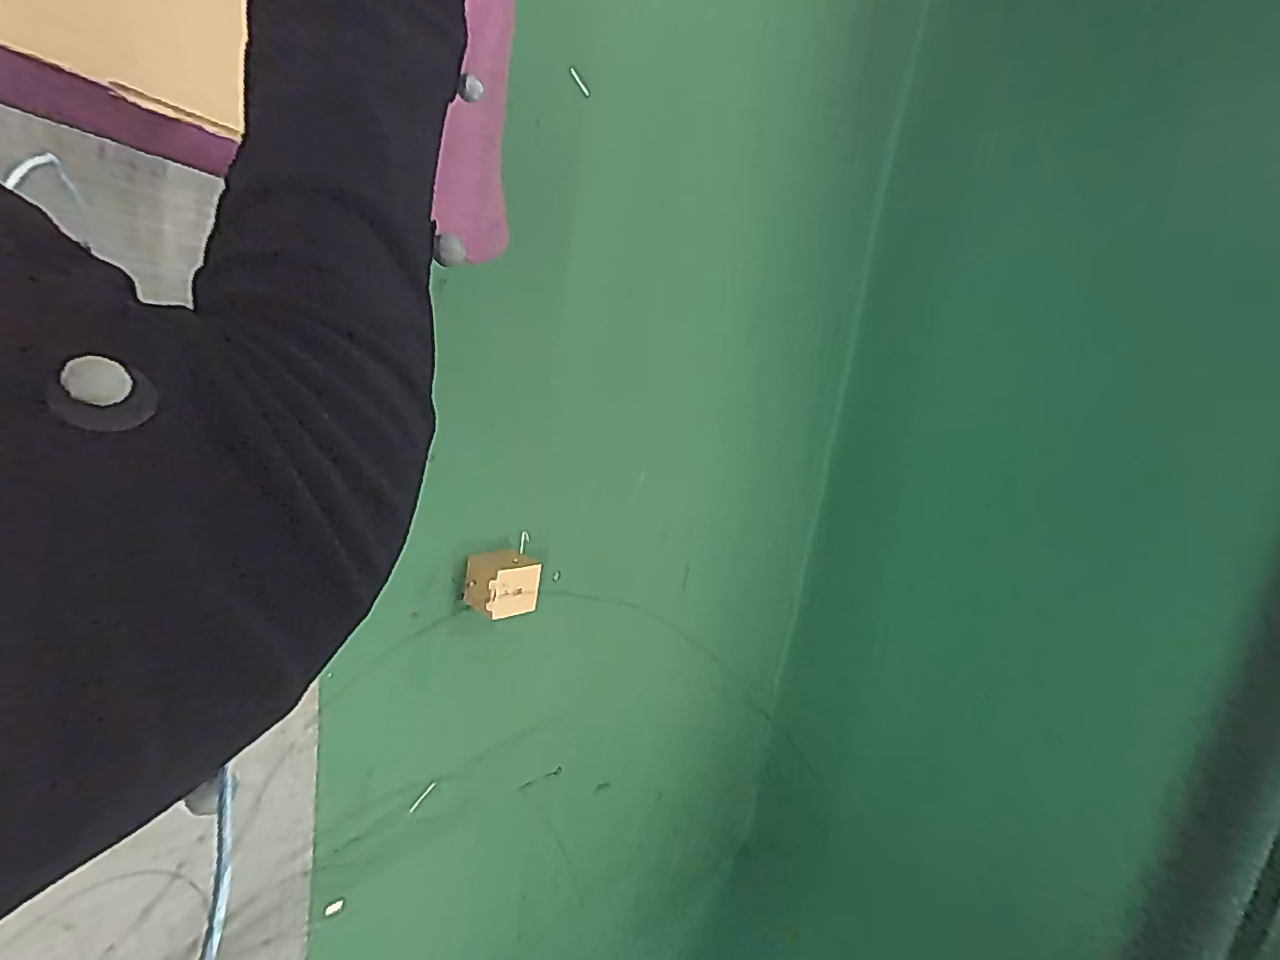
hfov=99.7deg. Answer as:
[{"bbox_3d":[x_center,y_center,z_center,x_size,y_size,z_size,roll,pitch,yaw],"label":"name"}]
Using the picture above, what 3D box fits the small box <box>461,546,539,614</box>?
[{"bbox_3d":[-0.468,0.324,1.800,0.179,0.176,0.168,0,103,-49],"label":"small box"}]
